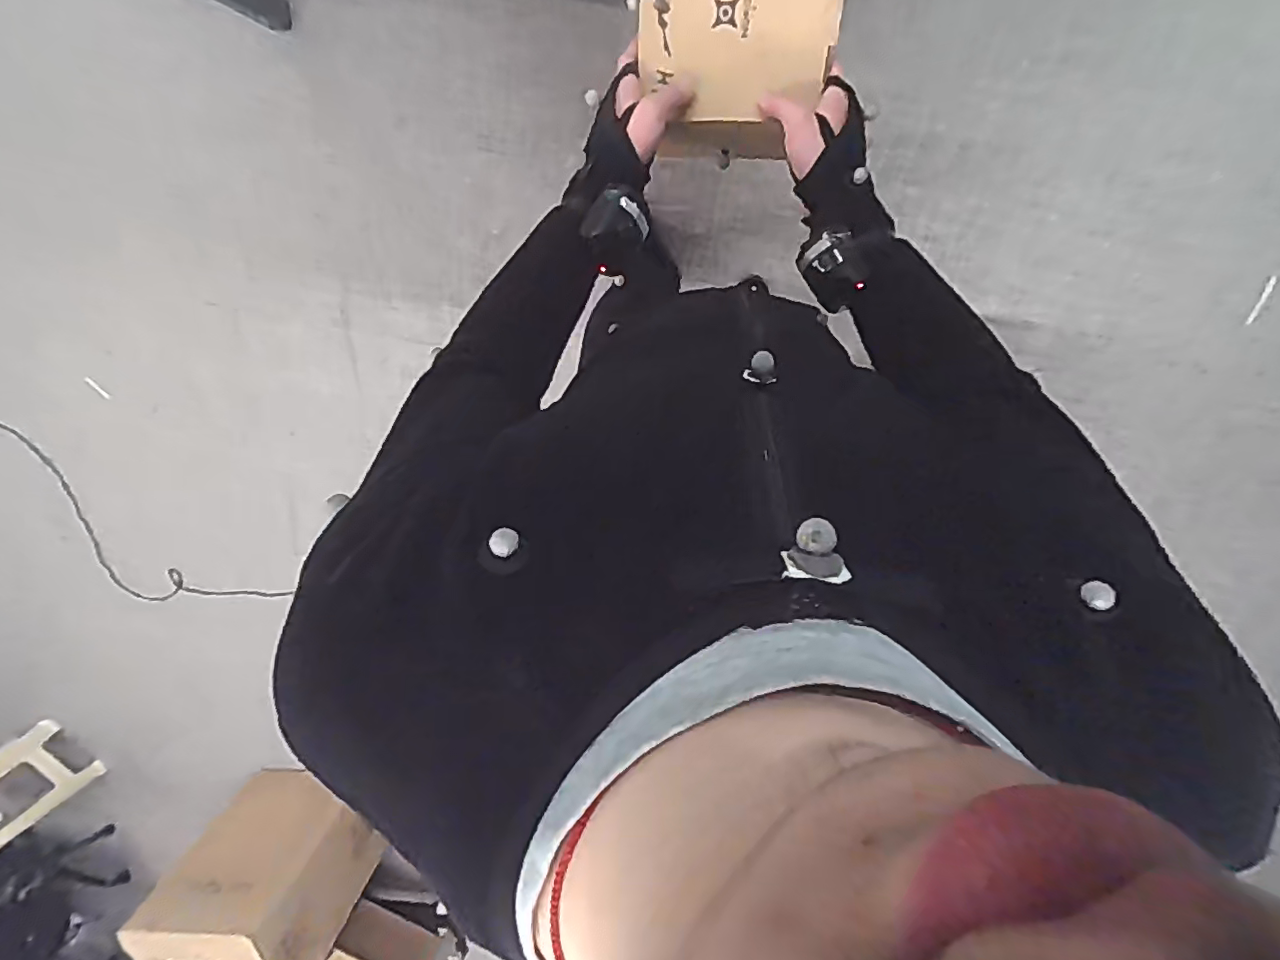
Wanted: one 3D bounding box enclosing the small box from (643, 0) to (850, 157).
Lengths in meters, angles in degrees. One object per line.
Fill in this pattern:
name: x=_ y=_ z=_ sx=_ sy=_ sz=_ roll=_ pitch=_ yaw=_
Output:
small box: x=0.100 y=-0.438 z=0.545 sx=0.179 sy=0.176 sz=0.168 roll=5 pitch=111 yaw=4
